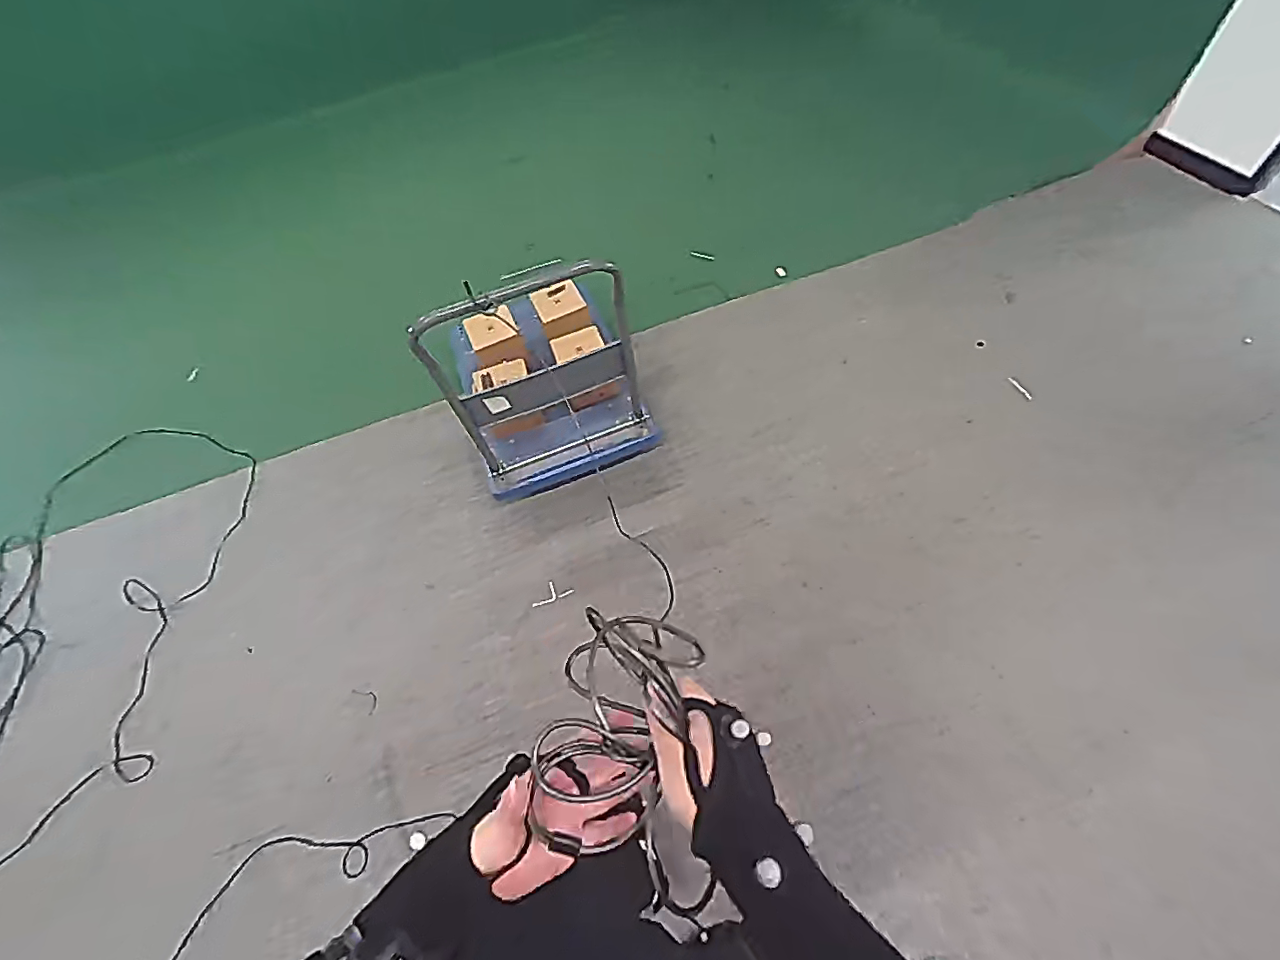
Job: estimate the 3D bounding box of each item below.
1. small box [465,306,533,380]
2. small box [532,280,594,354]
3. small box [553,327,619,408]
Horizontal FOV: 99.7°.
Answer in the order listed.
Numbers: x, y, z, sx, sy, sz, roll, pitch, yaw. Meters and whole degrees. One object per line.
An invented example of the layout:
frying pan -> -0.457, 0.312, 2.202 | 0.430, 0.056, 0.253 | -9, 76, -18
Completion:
small box -> -0.501, -0.482, 1.936 | 0.168, 0.176, 0.179 | -23, 58, -8
small box -> -0.273, -0.585, 1.967 | 0.168, 0.176, 0.179 | -24, 59, -6
small box -> -0.181, -0.376, 1.823 | 0.168, 0.176, 0.179 | -20, 58, -5
